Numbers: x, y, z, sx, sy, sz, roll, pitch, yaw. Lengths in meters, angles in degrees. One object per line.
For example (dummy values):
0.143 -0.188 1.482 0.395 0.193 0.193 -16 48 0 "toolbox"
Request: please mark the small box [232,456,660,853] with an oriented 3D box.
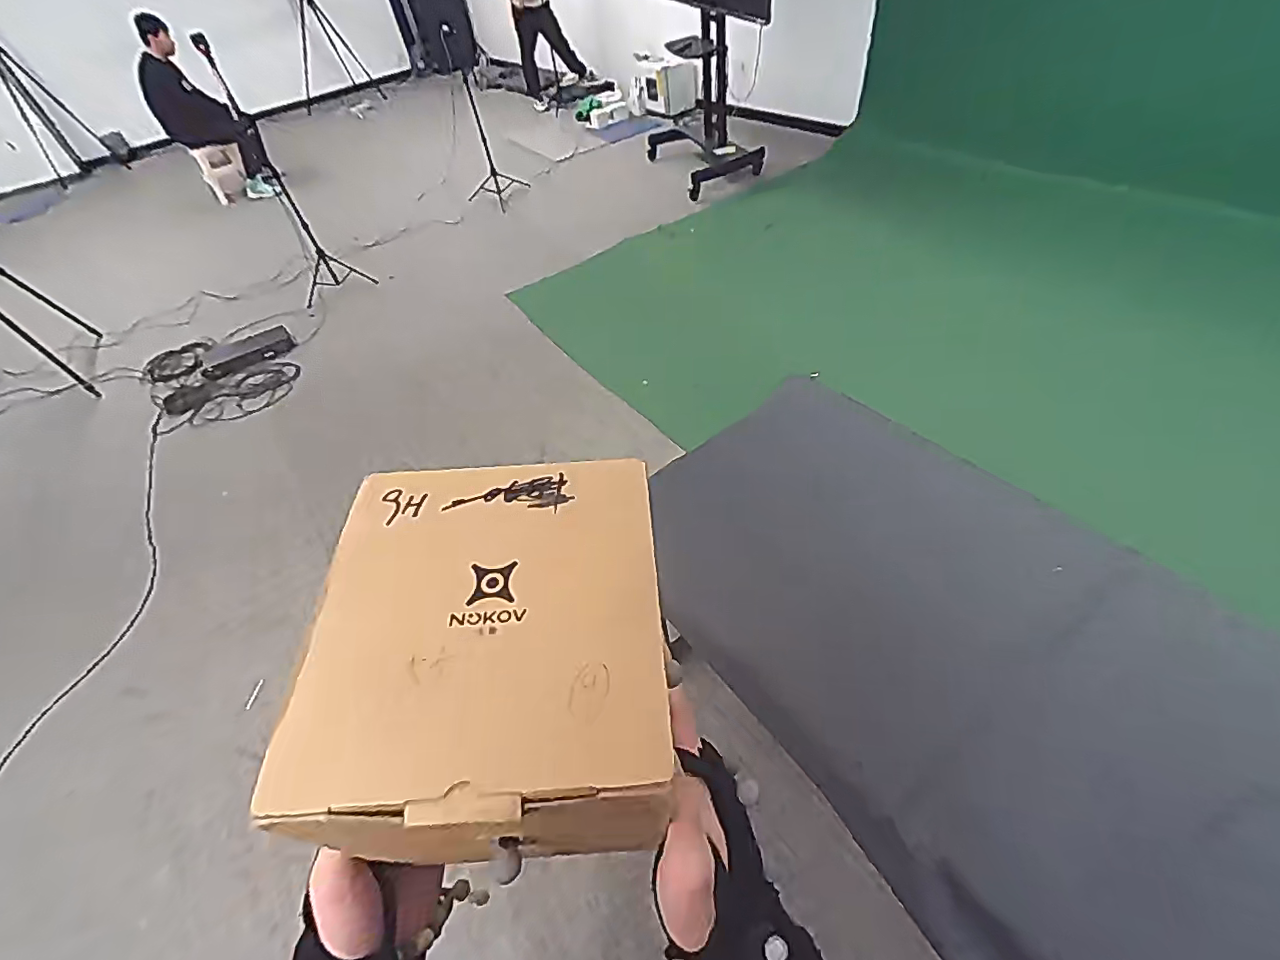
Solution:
-0.076 0.107 0.316 0.168 0.176 0.179 -2 51 -3 "small box"
